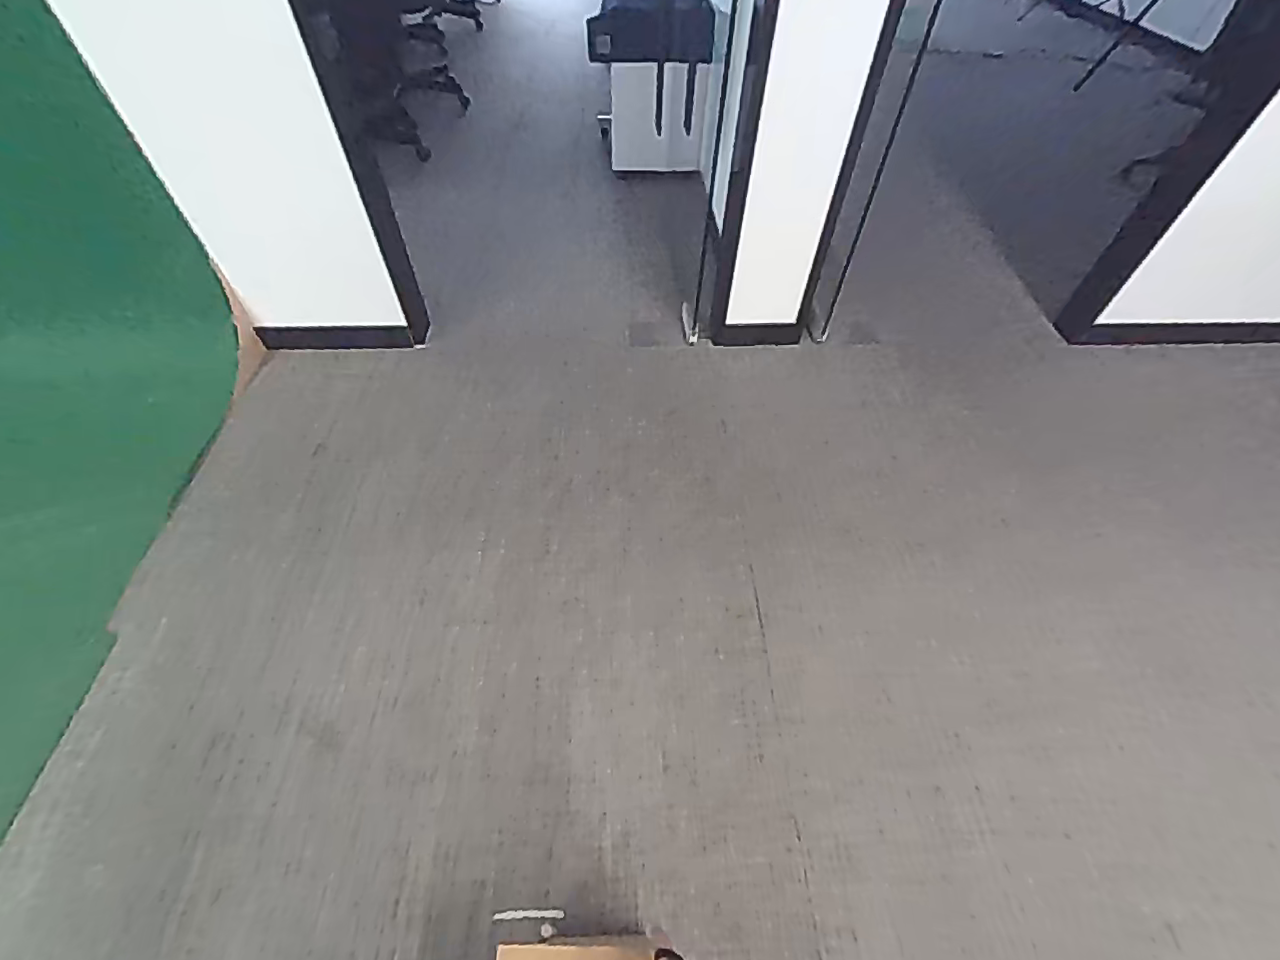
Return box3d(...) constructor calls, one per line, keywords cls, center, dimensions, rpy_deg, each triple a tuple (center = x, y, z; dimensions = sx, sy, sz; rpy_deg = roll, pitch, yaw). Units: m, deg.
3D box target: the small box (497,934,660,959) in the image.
box3d(cls="small box", center=(-0.067, 0.616, 0.598), dimensions=(0.179, 0.176, 0.168), rpy_deg=(1, 52, 0))
